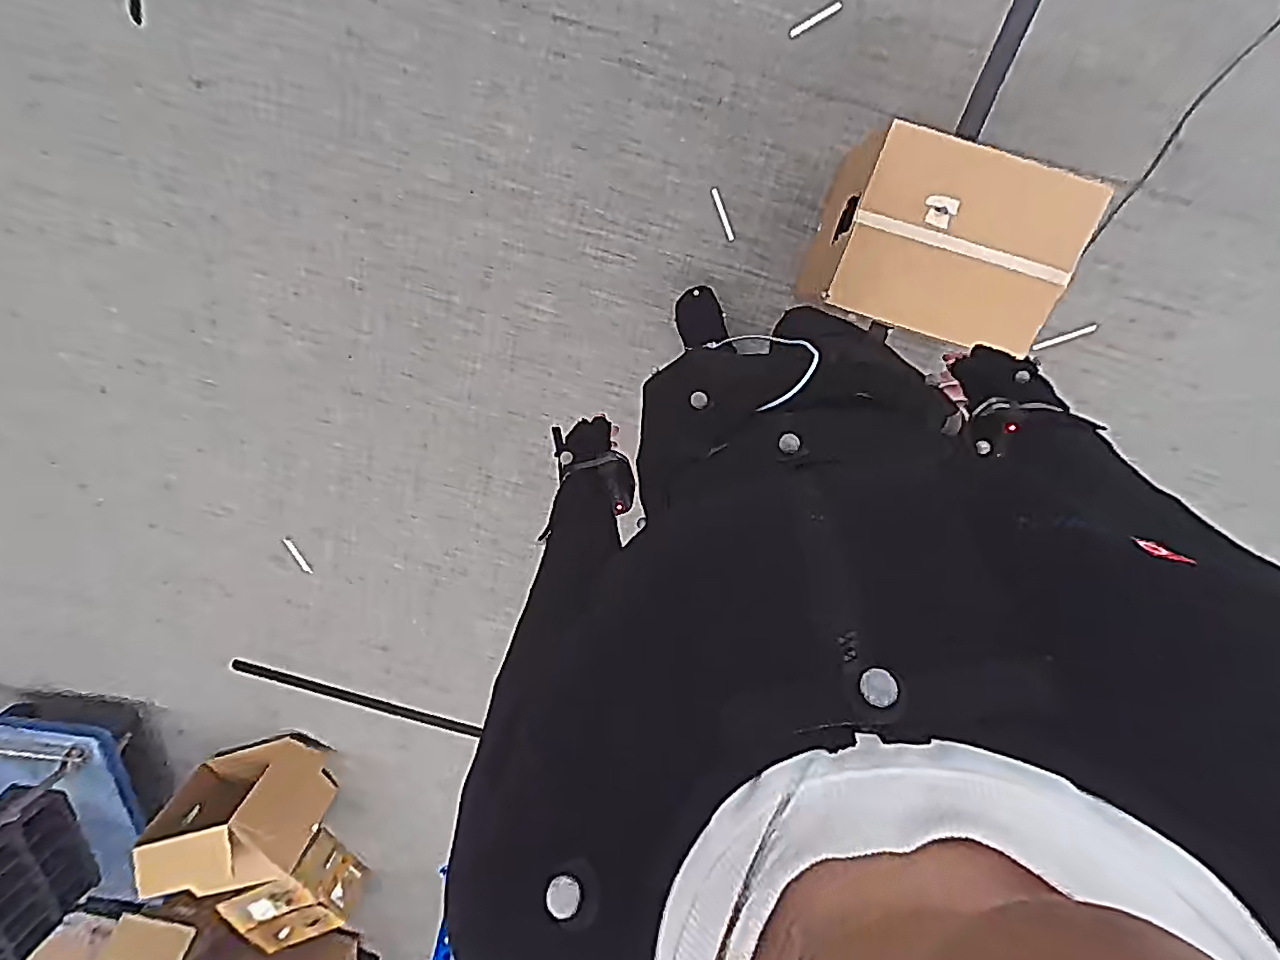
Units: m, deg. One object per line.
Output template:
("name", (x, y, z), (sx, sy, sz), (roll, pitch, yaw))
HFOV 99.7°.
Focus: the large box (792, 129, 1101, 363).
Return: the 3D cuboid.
("large box", (0.581, -0.465, 1.118), (0.408, 0.320, 0.320), (17, 110, 0))
